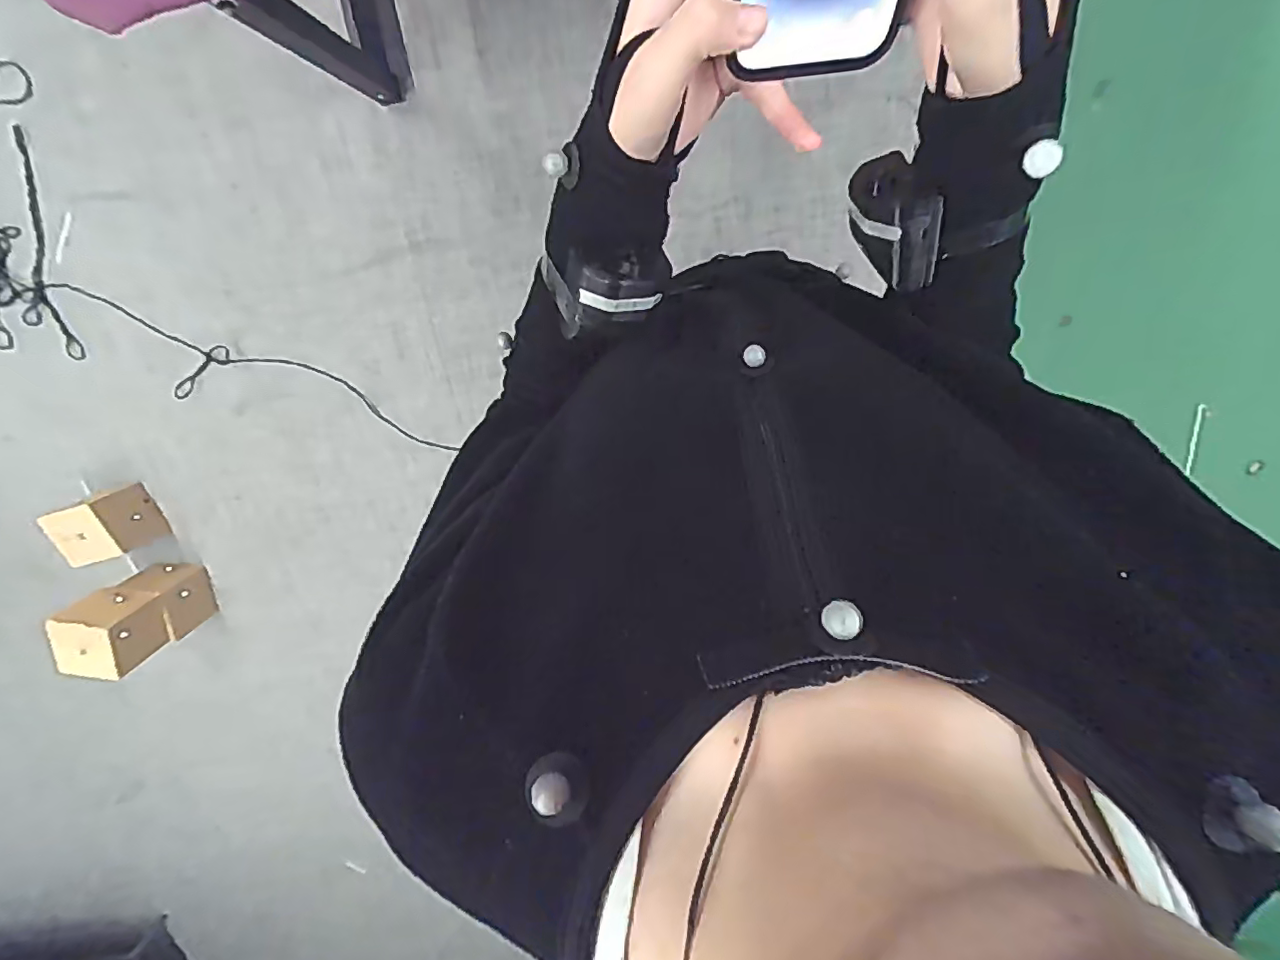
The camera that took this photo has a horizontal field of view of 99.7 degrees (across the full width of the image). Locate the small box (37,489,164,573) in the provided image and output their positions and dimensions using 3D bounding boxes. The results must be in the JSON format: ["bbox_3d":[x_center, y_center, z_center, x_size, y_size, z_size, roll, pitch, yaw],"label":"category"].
[{"bbox_3d":[-1.548,0.143,1.572,0.179,0.176,0.168,-14,110,7],"label":"small box"}]

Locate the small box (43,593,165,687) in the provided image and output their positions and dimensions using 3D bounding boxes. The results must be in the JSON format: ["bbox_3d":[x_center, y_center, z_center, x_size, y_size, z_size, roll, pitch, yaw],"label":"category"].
[{"bbox_3d":[-1.485,0.444,1.513,0.168,0.176,0.179,9,110,-1],"label":"small box"}]
